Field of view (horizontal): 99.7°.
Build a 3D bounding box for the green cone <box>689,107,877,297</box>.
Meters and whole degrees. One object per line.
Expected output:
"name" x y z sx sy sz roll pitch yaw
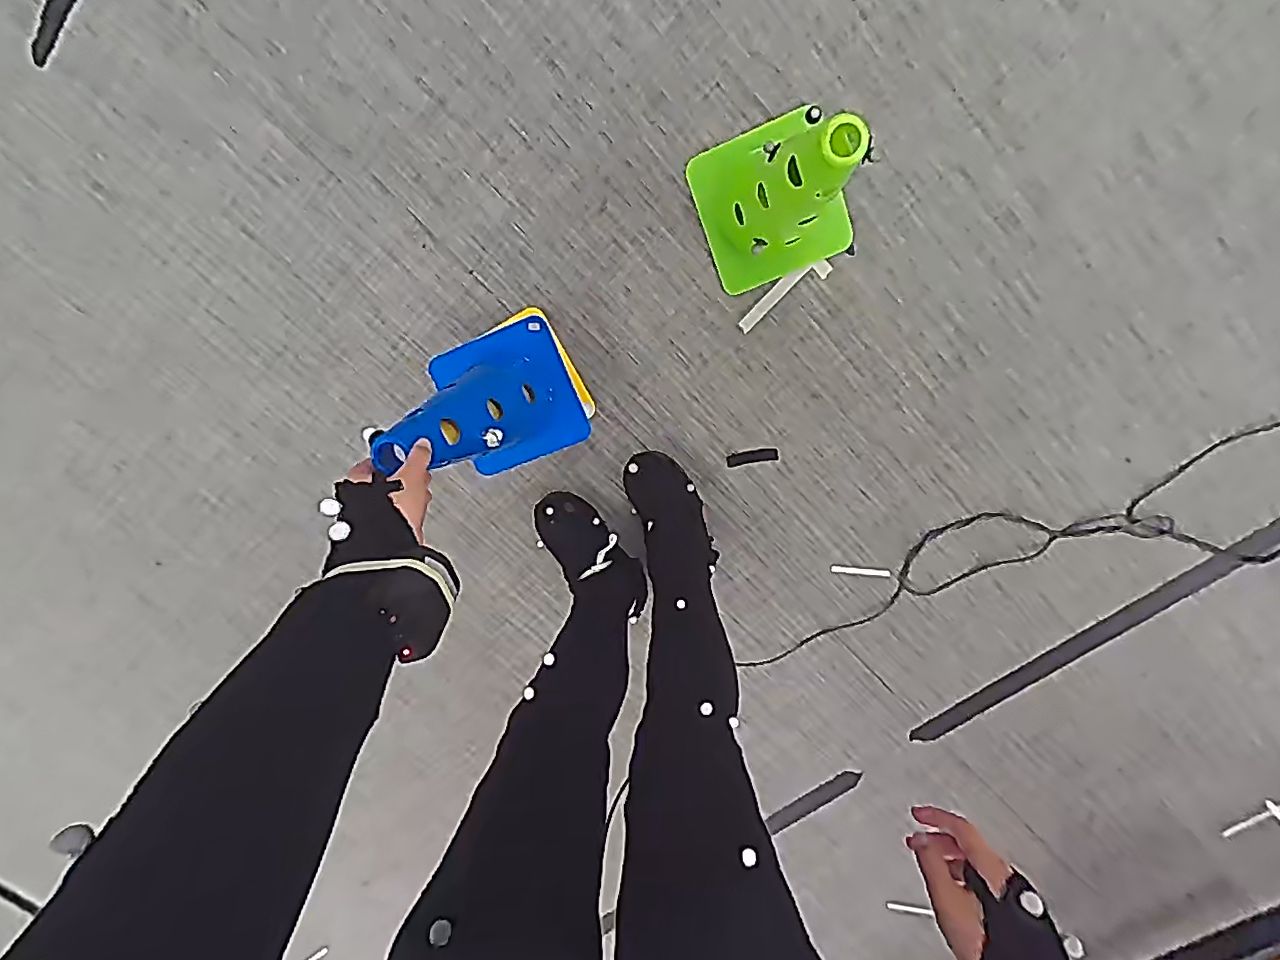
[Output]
"green cone" 0.182 -0.335 0.618 0.200 0.368 0.202 -21 108 10
